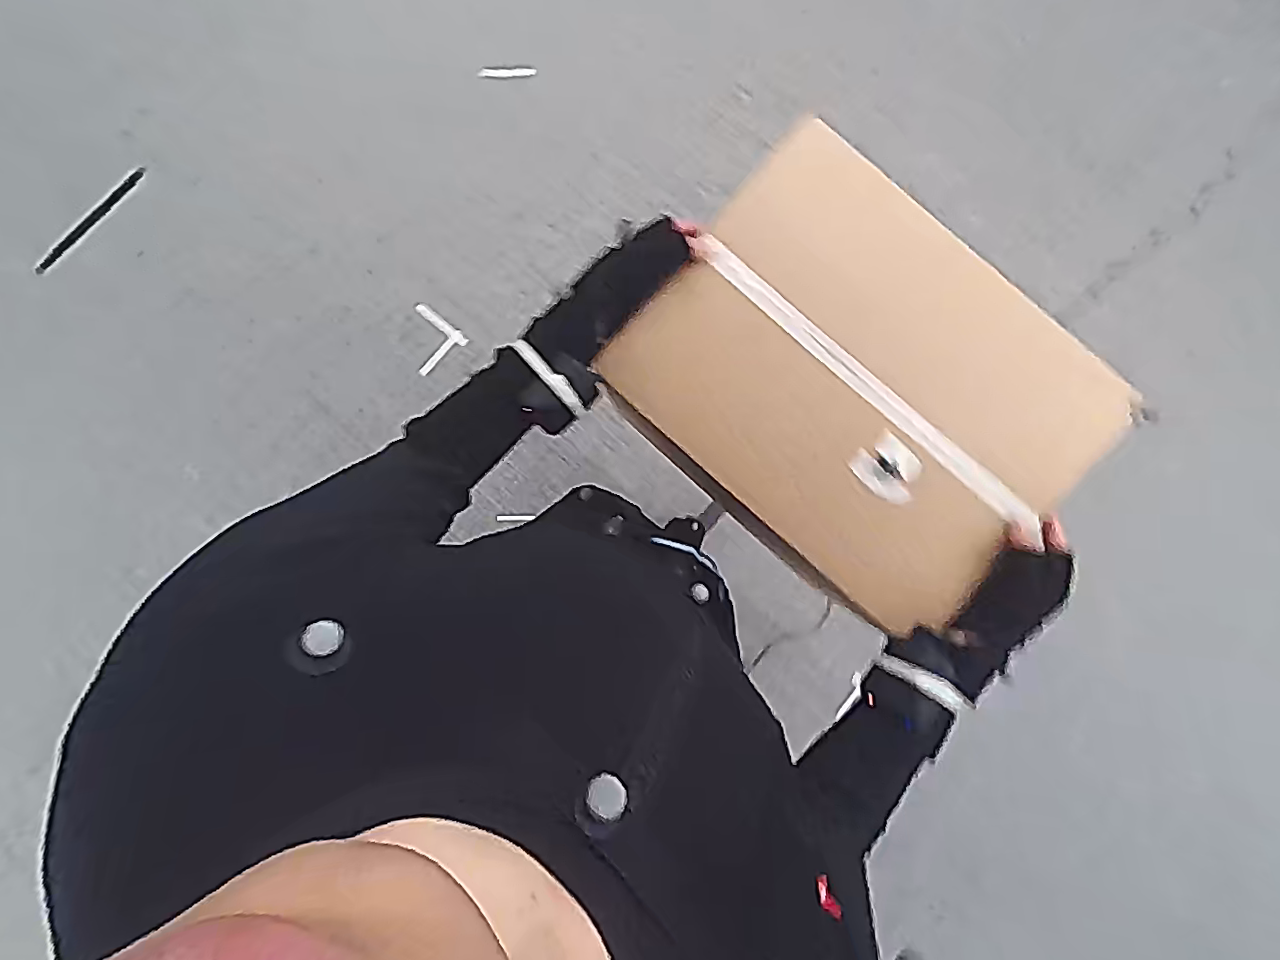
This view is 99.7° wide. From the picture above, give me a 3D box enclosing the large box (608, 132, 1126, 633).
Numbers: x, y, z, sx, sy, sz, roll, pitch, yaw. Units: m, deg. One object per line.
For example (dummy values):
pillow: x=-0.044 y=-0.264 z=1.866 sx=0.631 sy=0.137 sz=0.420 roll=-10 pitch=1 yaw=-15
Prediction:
large box: x=0.214 y=-0.094 z=0.662 sx=0.408 sy=0.320 sz=0.320 roll=42 pitch=92 yaw=1
